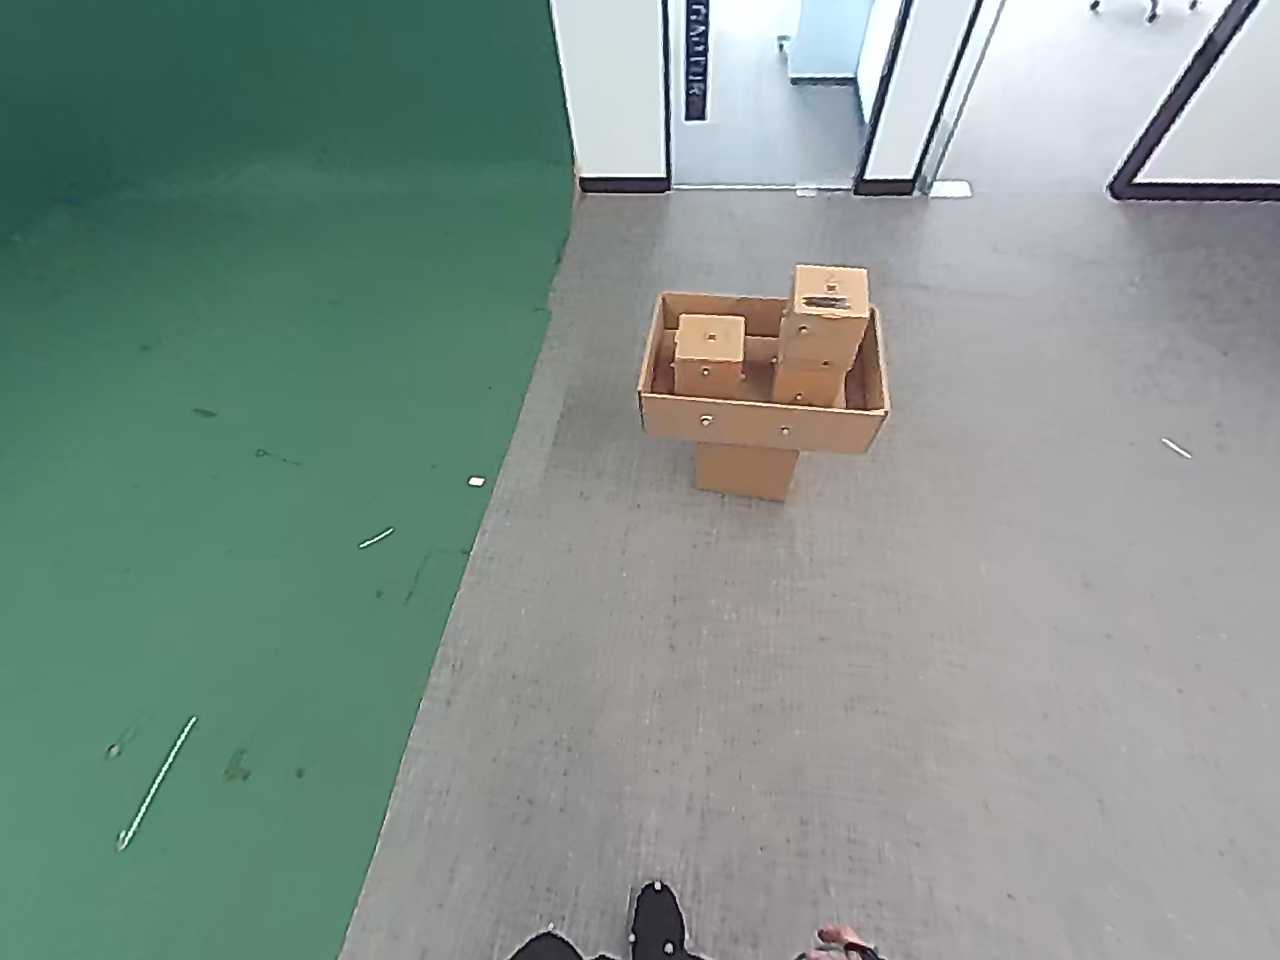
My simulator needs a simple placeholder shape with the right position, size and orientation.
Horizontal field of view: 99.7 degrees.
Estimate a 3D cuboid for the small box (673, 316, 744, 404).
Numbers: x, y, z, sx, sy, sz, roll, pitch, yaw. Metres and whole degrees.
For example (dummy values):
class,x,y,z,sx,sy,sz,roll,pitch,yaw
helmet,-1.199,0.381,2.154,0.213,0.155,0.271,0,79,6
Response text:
class,x,y,z,sx,sy,sz,roll,pitch,yaw
small box,0.187,-0.328,1.488,0.179,0.176,0.168,6,58,6
